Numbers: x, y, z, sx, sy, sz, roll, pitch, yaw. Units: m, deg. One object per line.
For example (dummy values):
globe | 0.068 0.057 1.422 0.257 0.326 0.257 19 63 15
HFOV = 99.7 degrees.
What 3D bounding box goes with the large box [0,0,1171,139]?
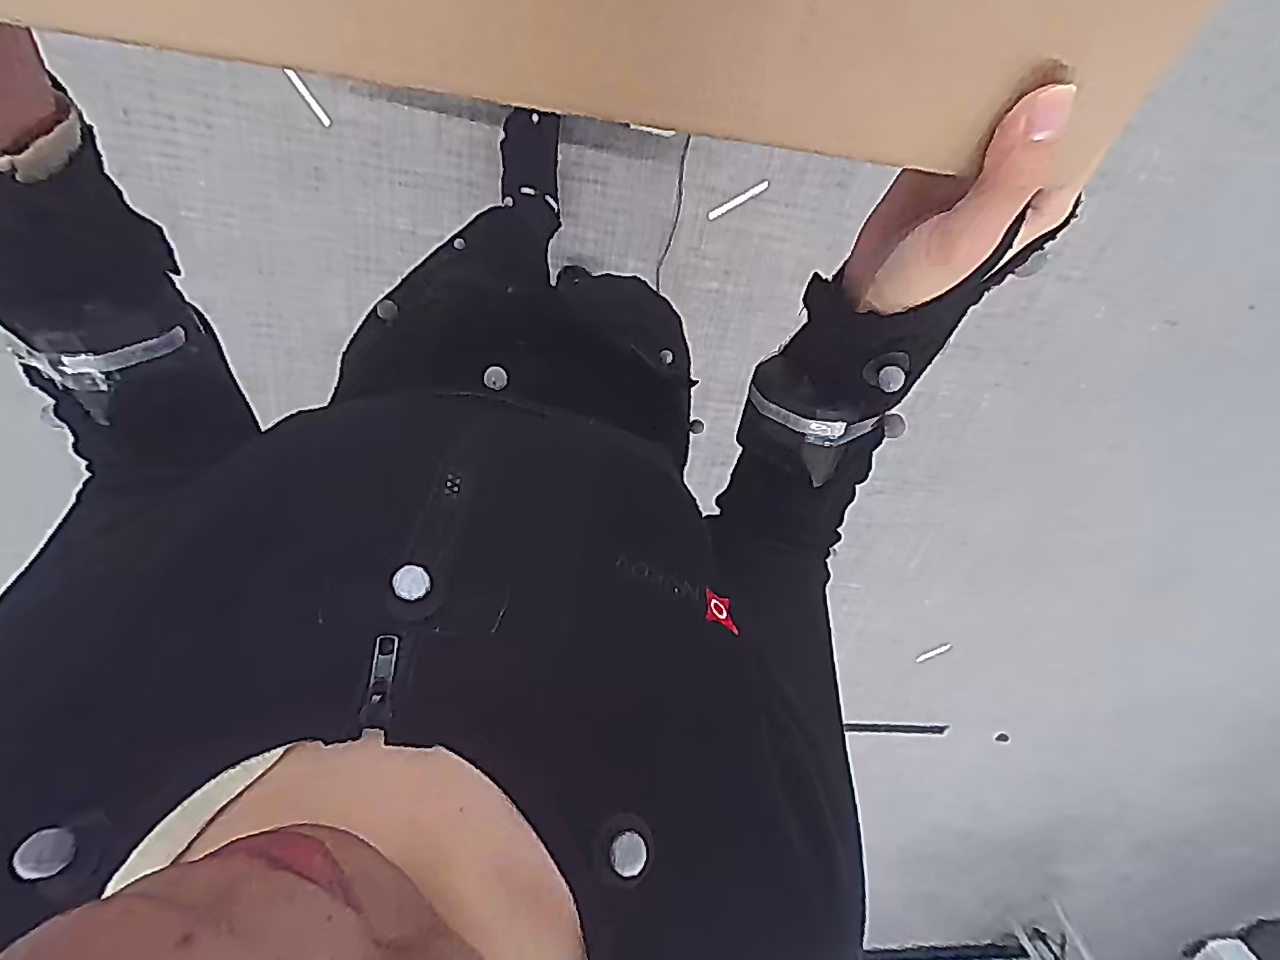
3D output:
large box | -0.023 -0.344 0.138 0.408 0.320 0.320 4 147 -7
